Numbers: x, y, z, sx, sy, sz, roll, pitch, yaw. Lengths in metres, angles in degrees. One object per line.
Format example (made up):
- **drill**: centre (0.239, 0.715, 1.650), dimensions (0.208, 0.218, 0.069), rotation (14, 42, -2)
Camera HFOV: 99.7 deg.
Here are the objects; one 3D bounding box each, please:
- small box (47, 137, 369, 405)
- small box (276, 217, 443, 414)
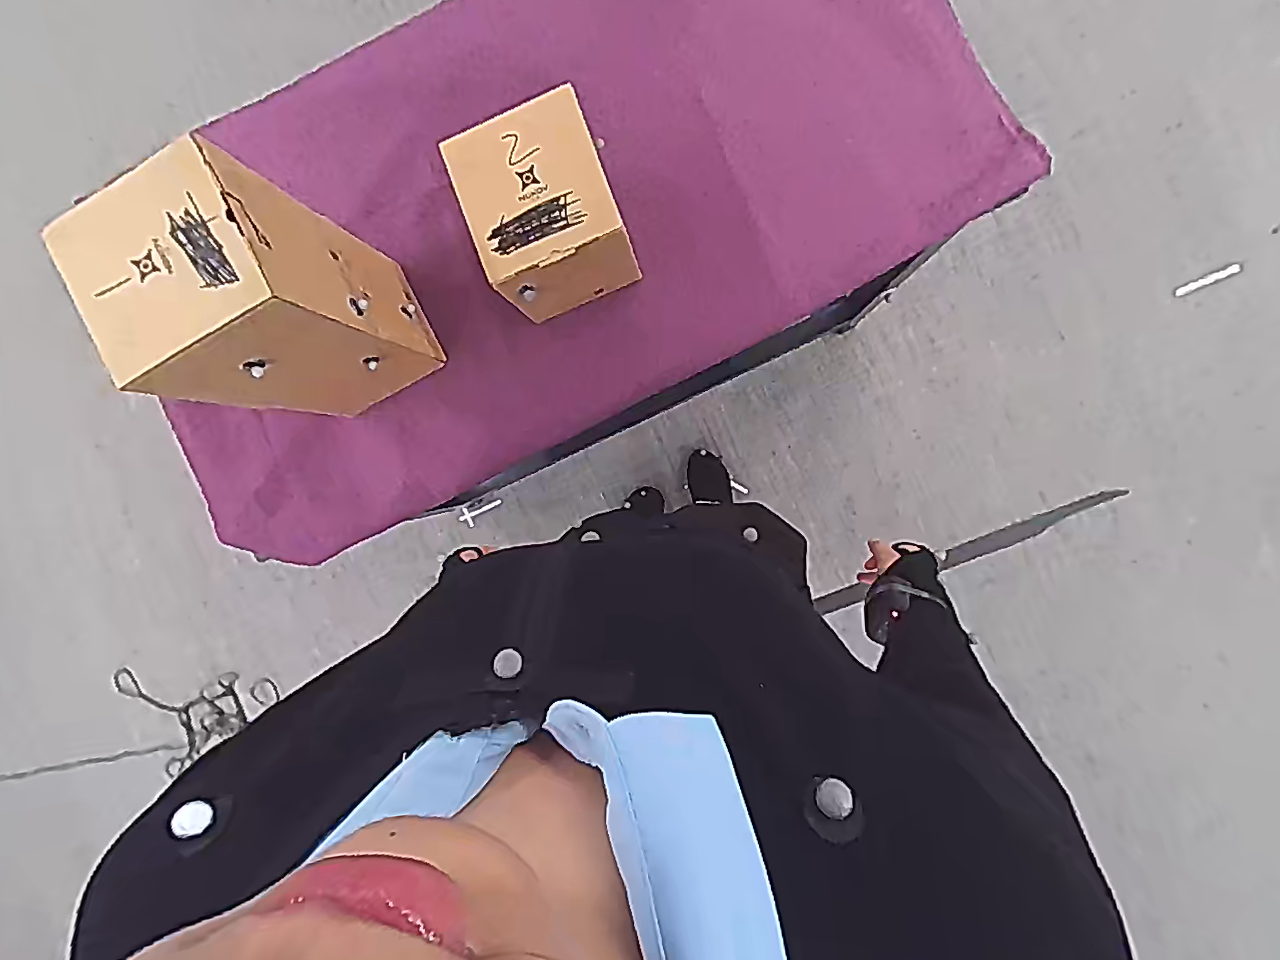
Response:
- **small box**: centre (-0.415, -0.193, 0.557), dimensions (0.179, 0.176, 0.168), rotation (-27, 88, 6)
- **small box**: centre (-0.402, -0.201, 0.721), dimensions (0.179, 0.176, 0.168), rotation (-27, 89, 6)
